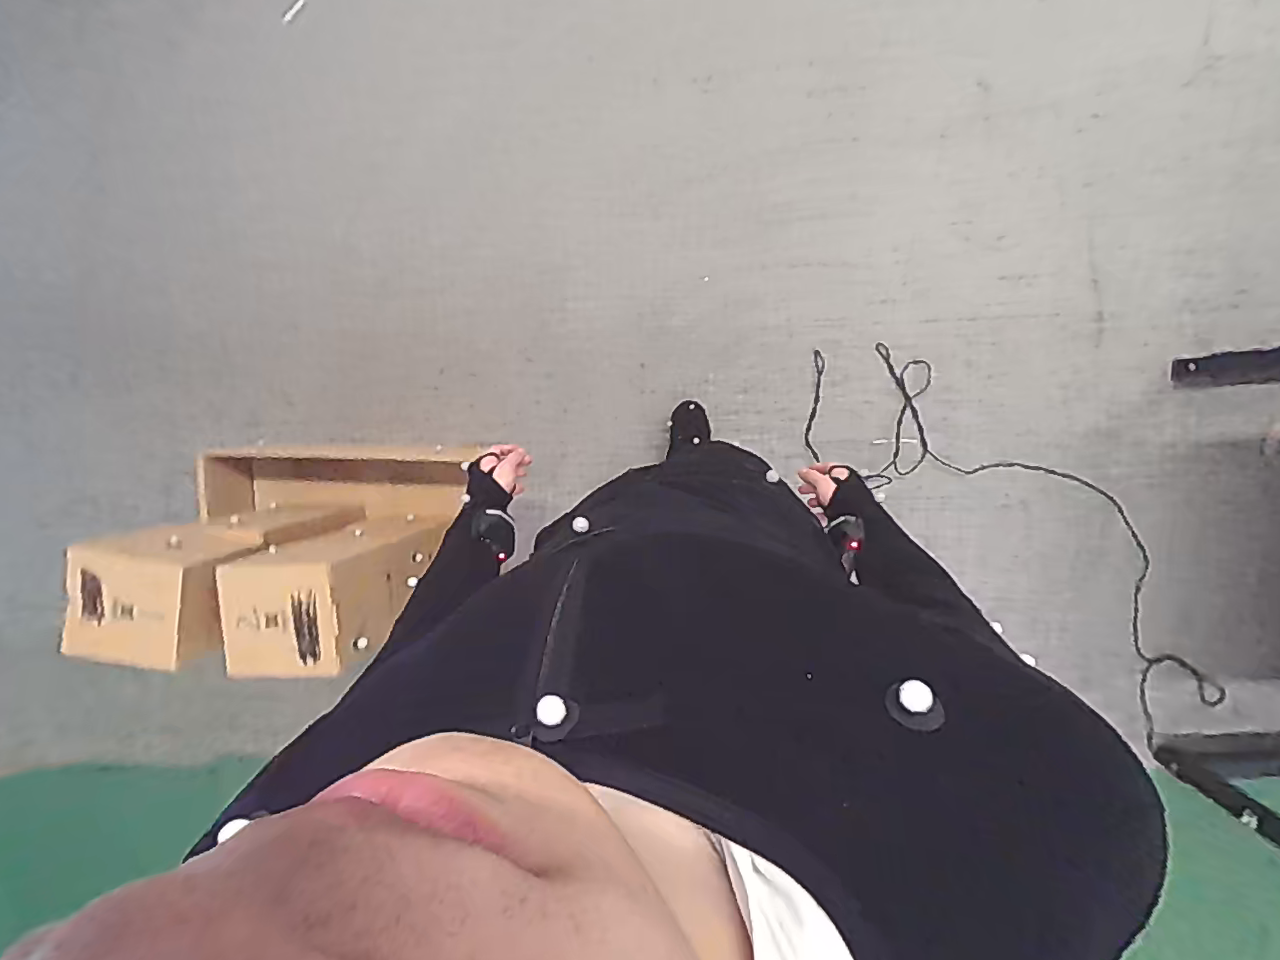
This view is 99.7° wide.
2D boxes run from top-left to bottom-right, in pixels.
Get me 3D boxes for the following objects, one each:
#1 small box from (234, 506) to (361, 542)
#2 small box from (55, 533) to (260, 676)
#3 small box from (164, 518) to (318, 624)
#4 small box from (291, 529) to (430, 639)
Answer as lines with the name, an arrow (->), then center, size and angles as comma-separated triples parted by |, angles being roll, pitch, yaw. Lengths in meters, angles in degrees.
small box -> -0.743, 0.151, 1.190 | 0.179, 0.176, 0.168 | 0, 96, 2
small box -> -0.760, 0.187, 0.866 | 0.179, 0.176, 0.168 | 9, 96, 1
small box -> -0.748, 0.167, 1.029 | 0.179, 0.176, 0.168 | -1, 95, 2
small box -> -0.507, 0.186, 1.011 | 0.179, 0.176, 0.168 | -1, 95, 5
